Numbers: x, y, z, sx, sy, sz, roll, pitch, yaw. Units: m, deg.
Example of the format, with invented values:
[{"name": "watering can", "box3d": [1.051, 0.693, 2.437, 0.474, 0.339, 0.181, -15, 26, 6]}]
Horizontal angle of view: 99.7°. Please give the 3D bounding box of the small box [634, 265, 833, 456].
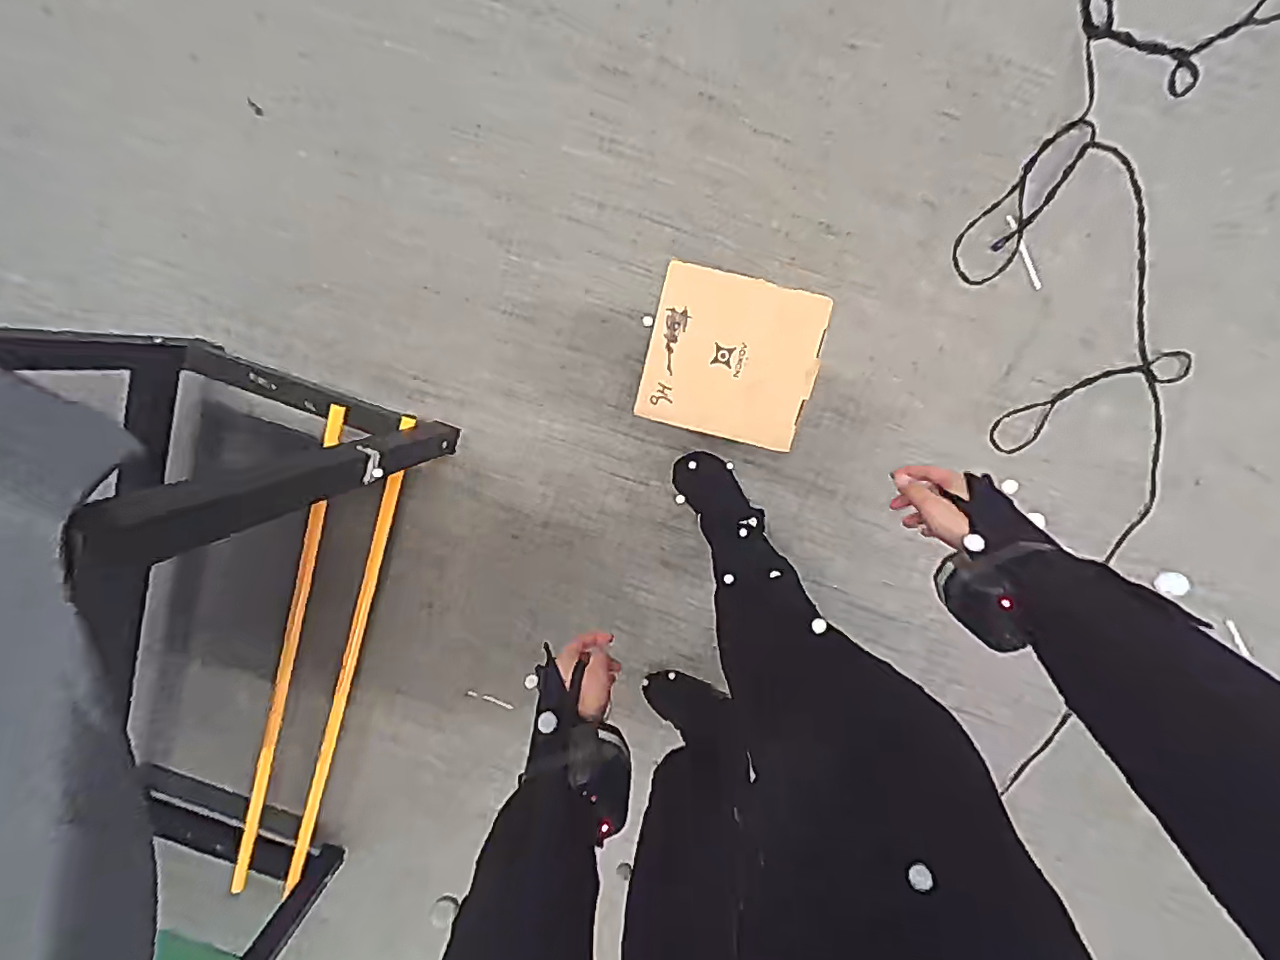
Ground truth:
[{"name": "small box", "box3d": [0.100, -0.138, 0.647, 0.179, 0.176, 0.168, 14, 100, 0]}]
